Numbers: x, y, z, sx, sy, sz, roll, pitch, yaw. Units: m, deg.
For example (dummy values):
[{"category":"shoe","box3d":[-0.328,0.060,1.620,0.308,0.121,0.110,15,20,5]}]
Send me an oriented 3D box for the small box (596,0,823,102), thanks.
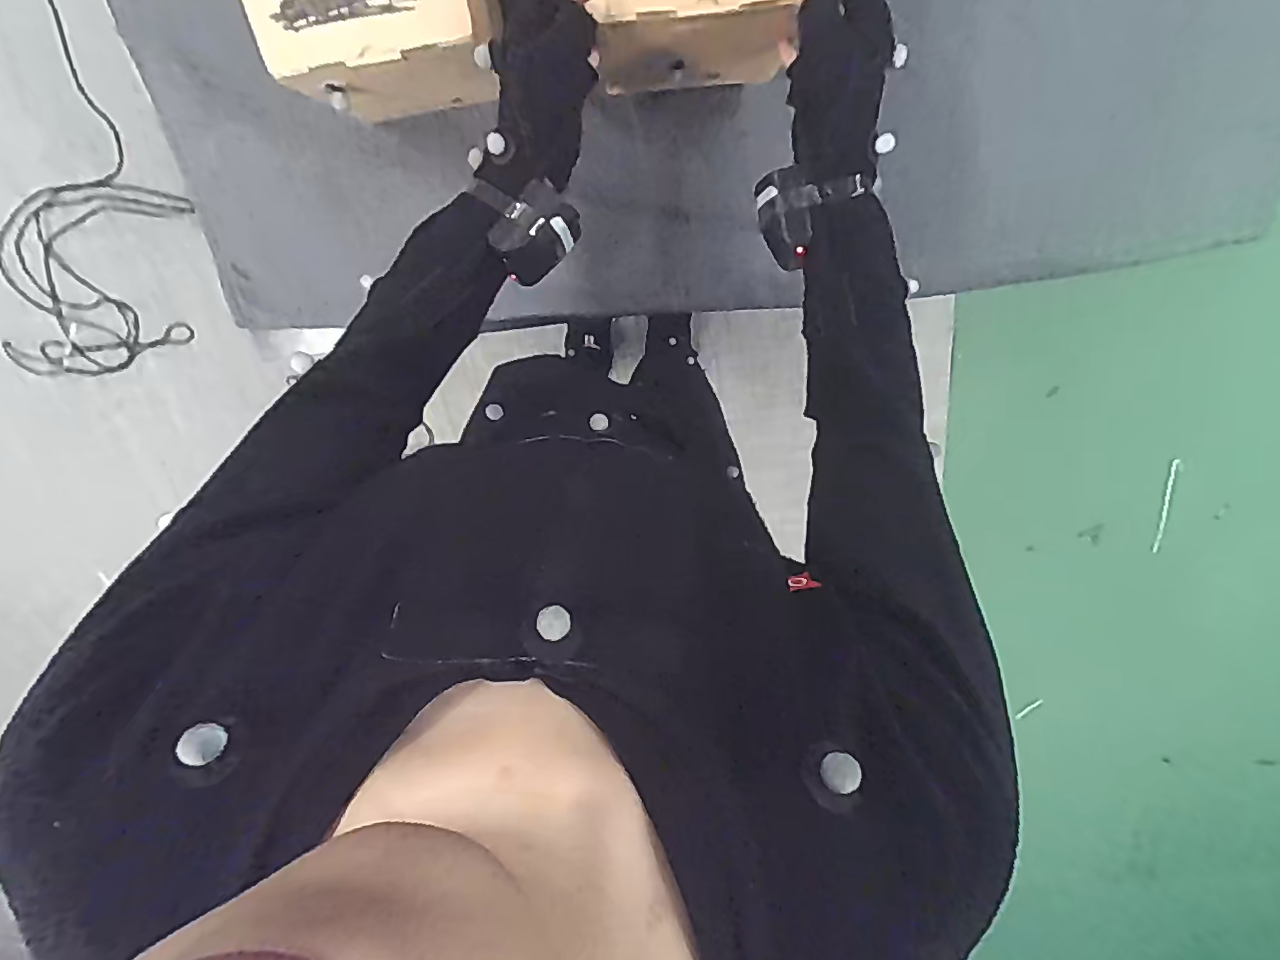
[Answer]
[{"category":"small box","box3d":[0.044,-0.440,0.438,0.168,0.176,0.179,-4,111,2]}]
